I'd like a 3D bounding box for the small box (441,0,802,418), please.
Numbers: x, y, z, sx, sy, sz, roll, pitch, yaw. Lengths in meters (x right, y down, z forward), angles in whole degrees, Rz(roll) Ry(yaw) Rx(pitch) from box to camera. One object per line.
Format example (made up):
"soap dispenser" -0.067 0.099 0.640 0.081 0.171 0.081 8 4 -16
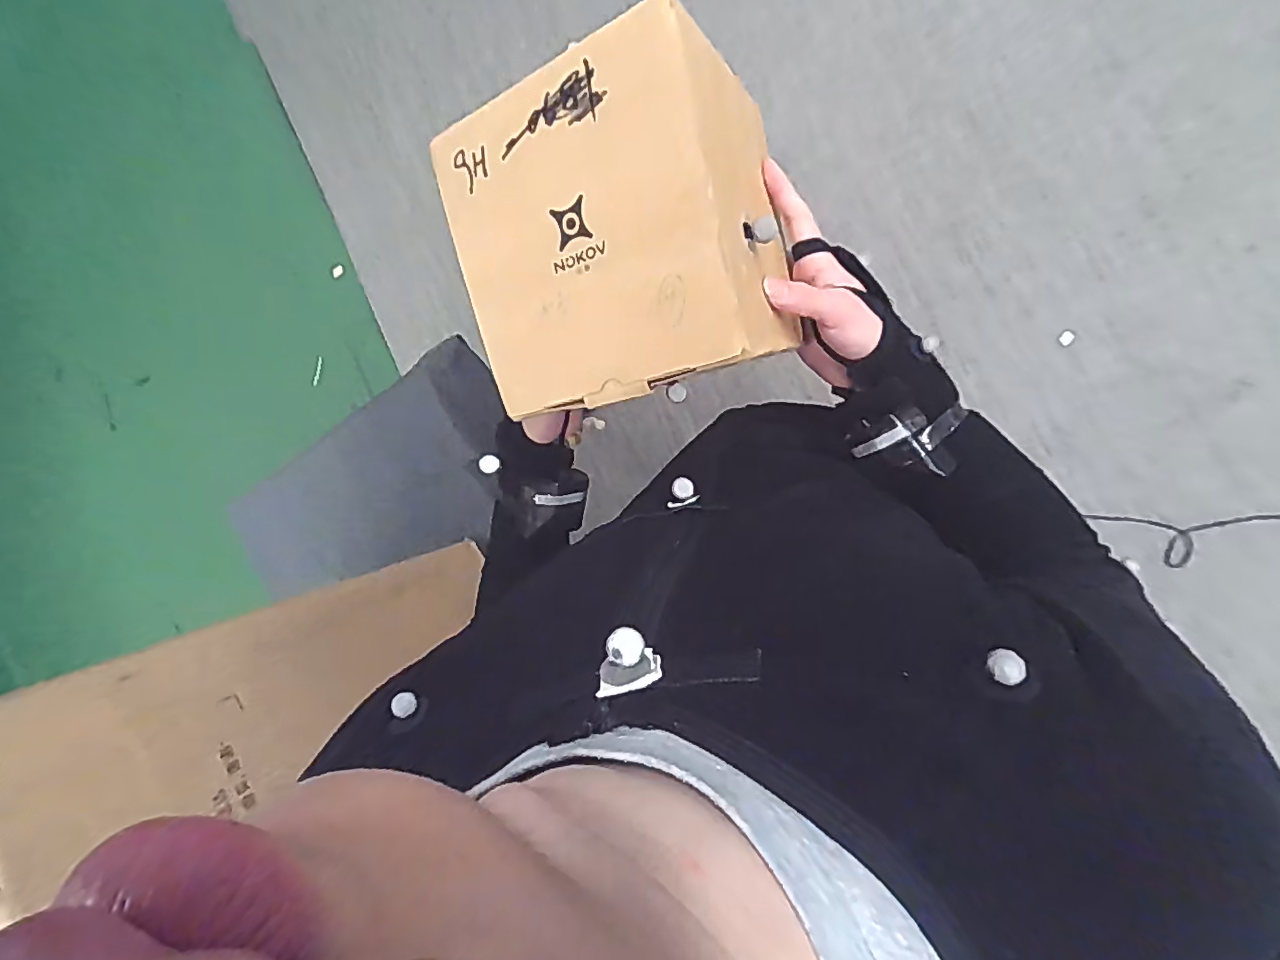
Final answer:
"small box" 0.004 -0.155 0.374 0.168 0.176 0.179 -10 100 28
